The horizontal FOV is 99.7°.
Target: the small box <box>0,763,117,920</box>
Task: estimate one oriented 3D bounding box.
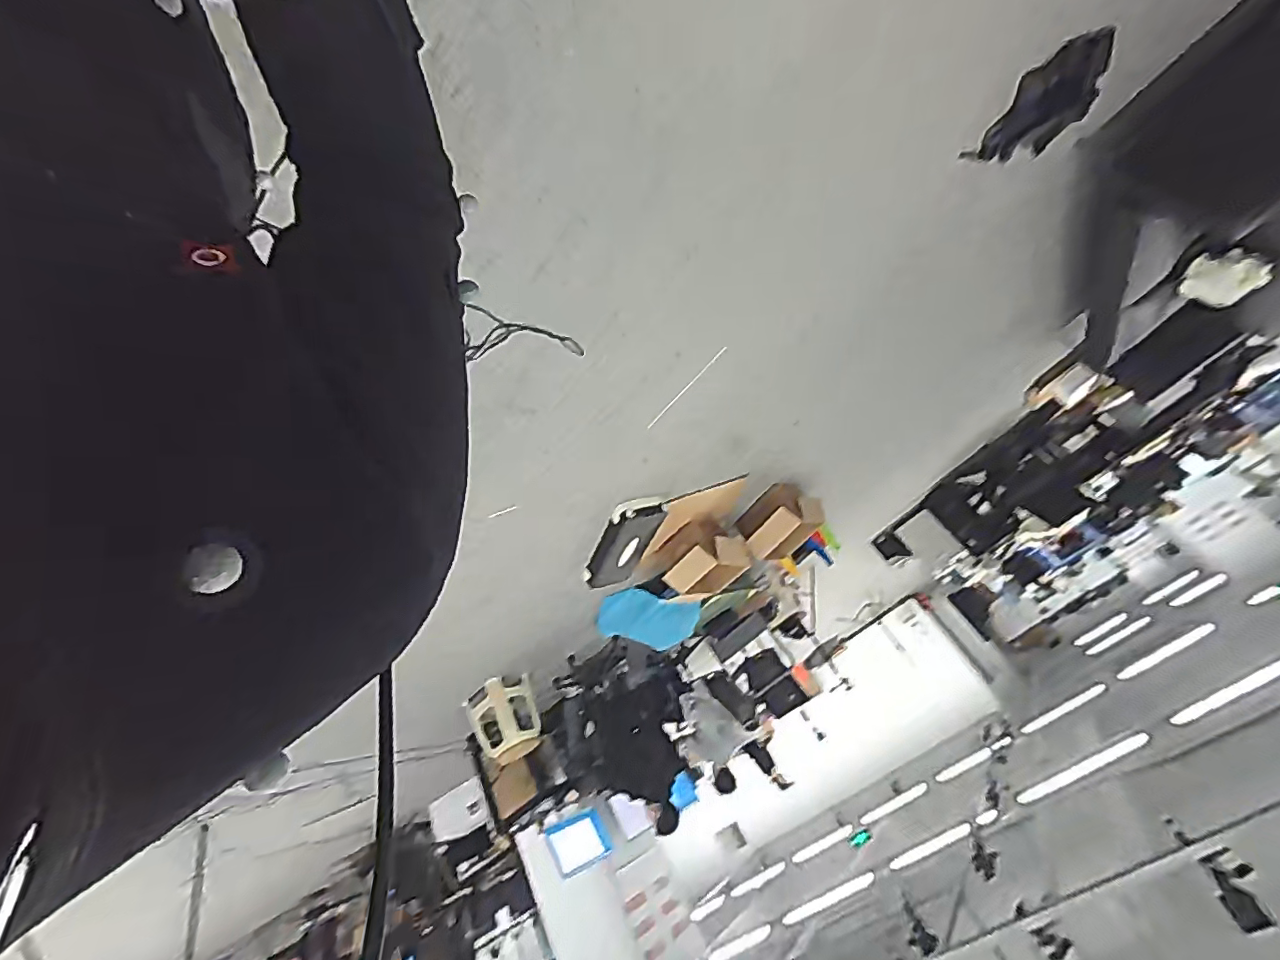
[{"bbox_3d":[-1.009,0.599,0.898,0.168,0.176,0.179,-45,147,21],"label":"small box"}]
